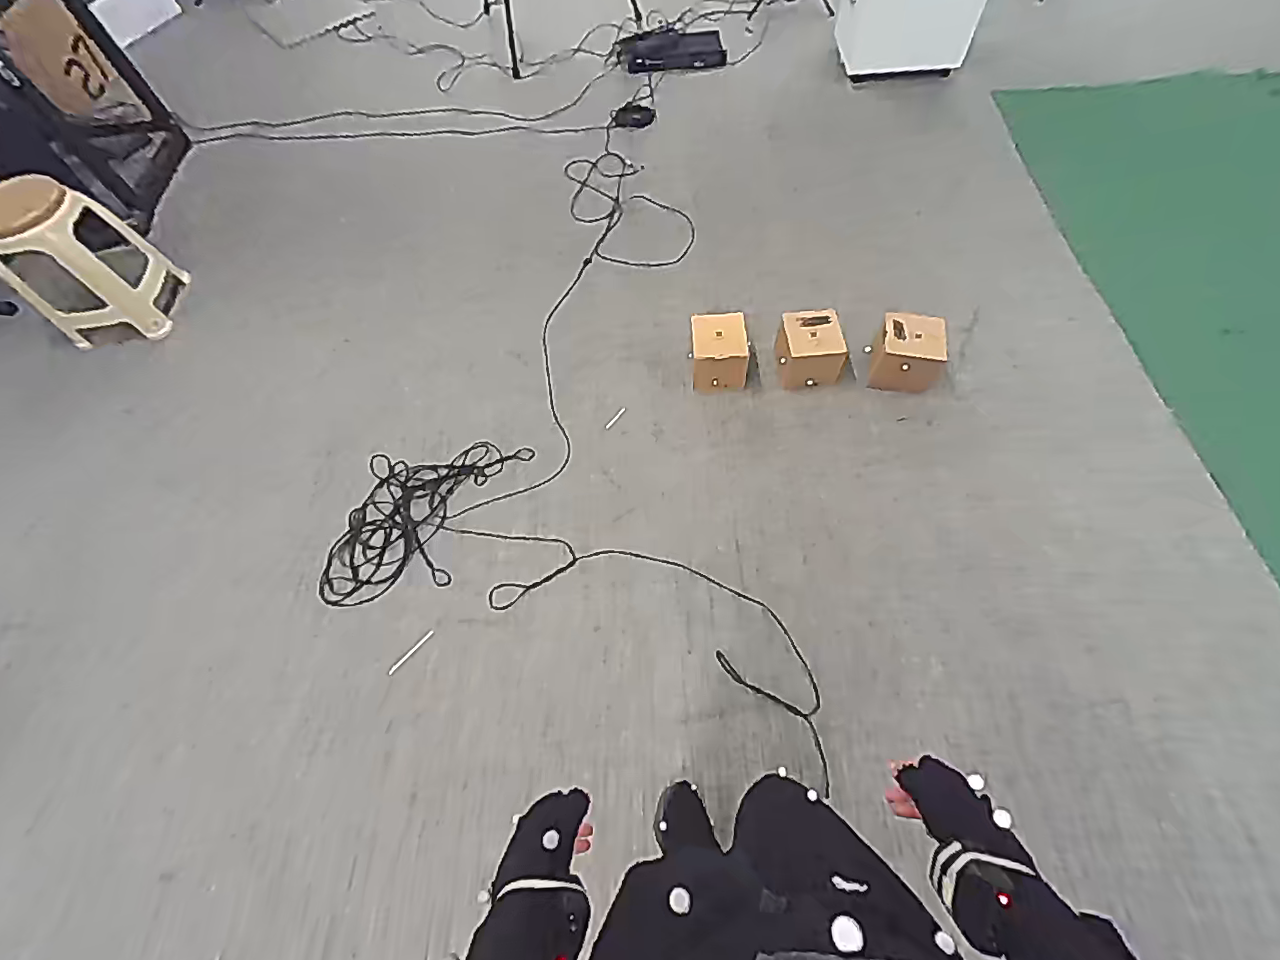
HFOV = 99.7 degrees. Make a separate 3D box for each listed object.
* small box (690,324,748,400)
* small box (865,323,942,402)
[{"bbox_3d":[0.247,-0.376,1.735,0.168,0.176,0.179,-3,61,2],"label":"small box"},{"bbox_3d":[0.815,-0.361,1.686,0.179,0.176,0.168,10,63,8],"label":"small box"}]
